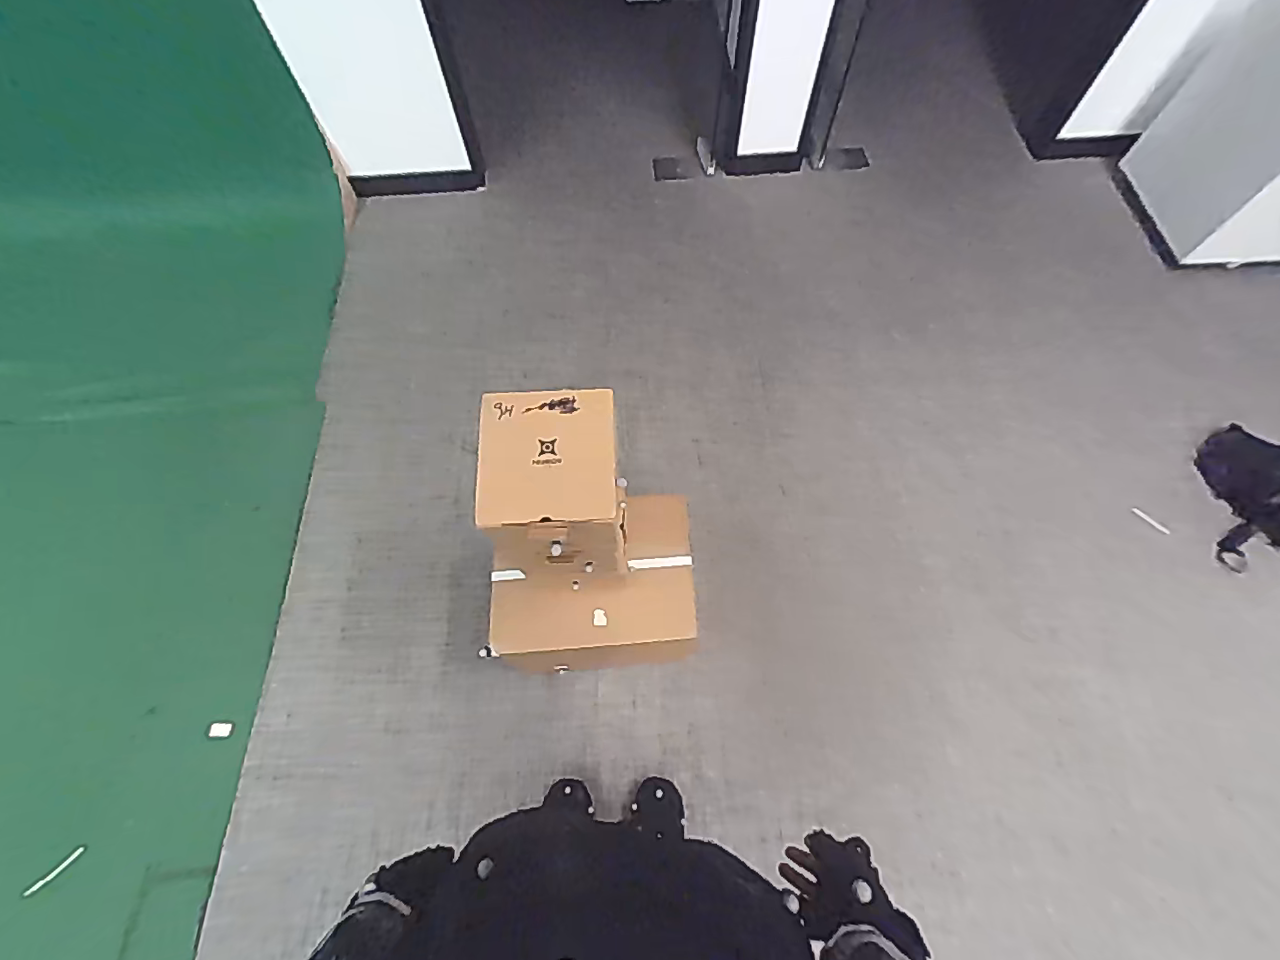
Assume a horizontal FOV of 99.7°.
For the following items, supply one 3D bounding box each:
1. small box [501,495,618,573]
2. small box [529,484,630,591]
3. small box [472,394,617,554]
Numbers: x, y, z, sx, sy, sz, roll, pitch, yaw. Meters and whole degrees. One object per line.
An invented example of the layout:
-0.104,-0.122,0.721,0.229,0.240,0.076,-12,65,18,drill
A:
-0.123,0.054,0.888,0.168,0.176,0.179,-2,69,-1,small box
-0.113,0.115,1.038,0.179,0.176,0.168,-5,71,-2,small box
-0.118,0.002,0.733,0.168,0.176,0.179,-3,71,-1,small box
